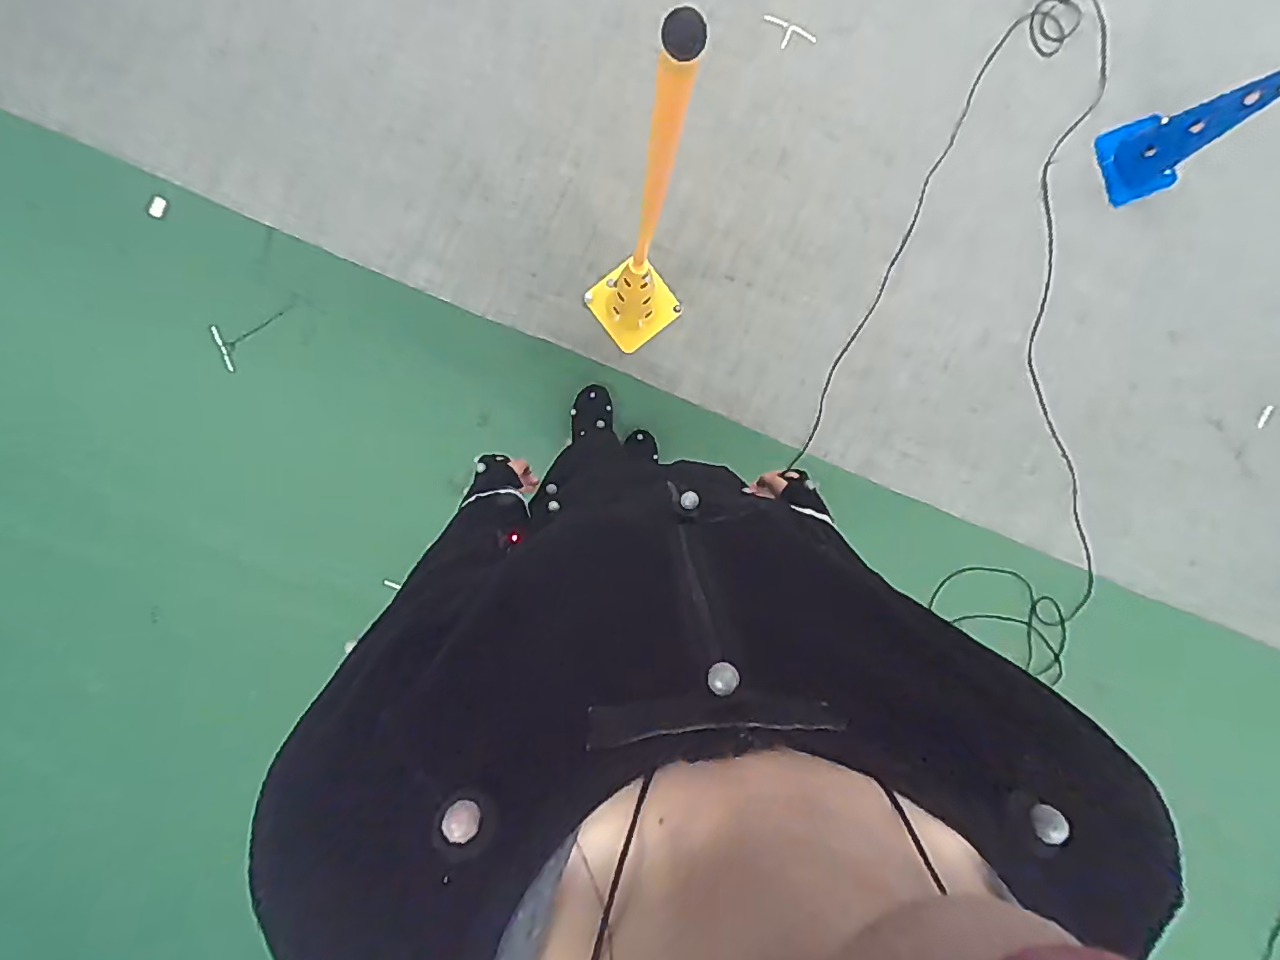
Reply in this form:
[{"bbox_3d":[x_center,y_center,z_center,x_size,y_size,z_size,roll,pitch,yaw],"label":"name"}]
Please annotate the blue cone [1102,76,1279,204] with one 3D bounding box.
[{"bbox_3d":[1.371,-0.862,1.306,0.193,0.380,0.192,-23,95,-3],"label":"blue cone"}]
